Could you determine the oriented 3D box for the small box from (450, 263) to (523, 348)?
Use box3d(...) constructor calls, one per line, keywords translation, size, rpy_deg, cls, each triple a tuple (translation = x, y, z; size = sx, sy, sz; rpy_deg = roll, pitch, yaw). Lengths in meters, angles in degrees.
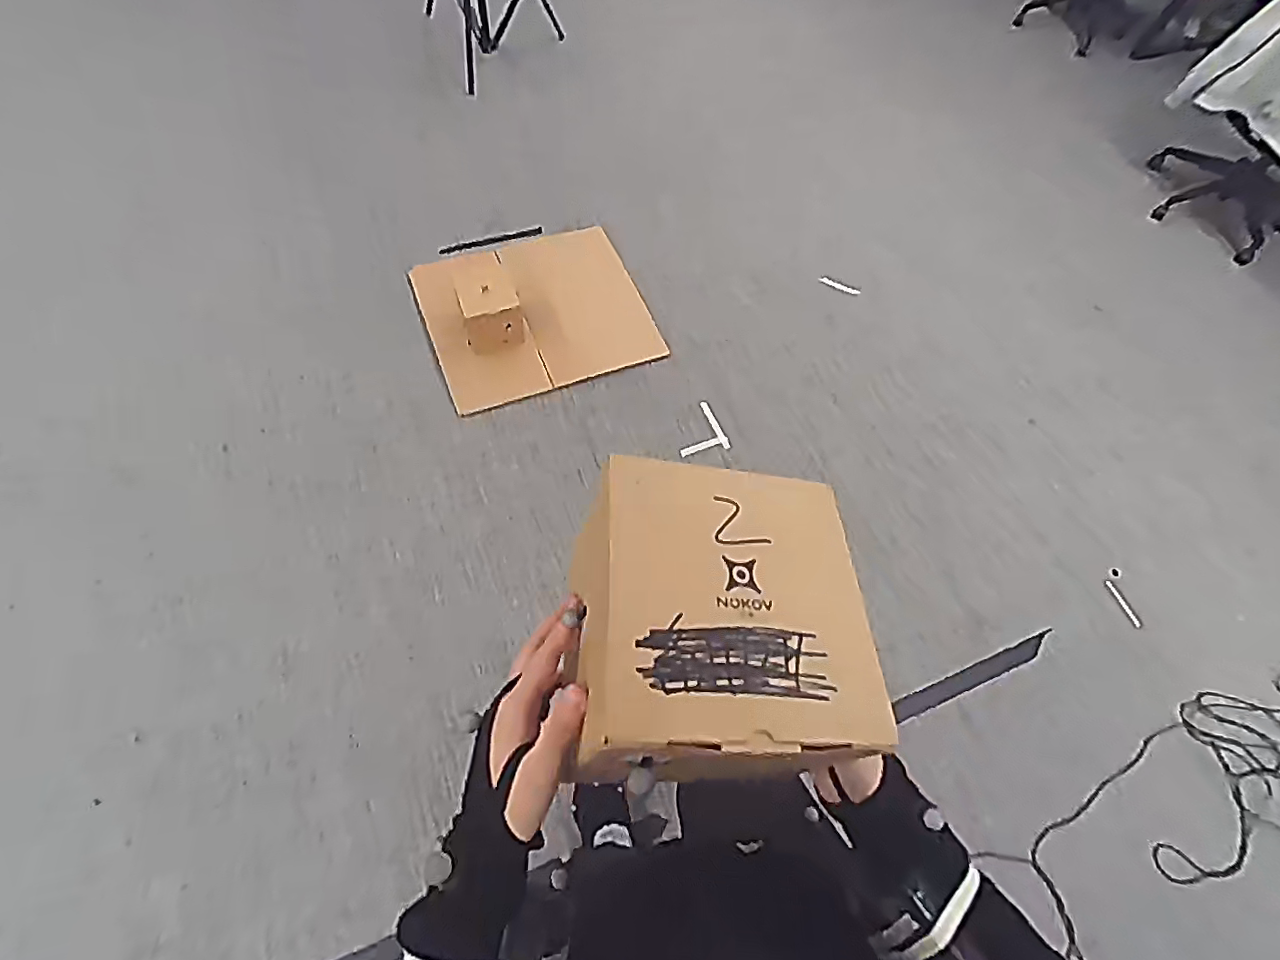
box3d(translation=(-0.464, -0.523, 1.652), size=(0.168, 0.176, 0.179), rpy_deg=(-18, 69, -16), cls="small box")
